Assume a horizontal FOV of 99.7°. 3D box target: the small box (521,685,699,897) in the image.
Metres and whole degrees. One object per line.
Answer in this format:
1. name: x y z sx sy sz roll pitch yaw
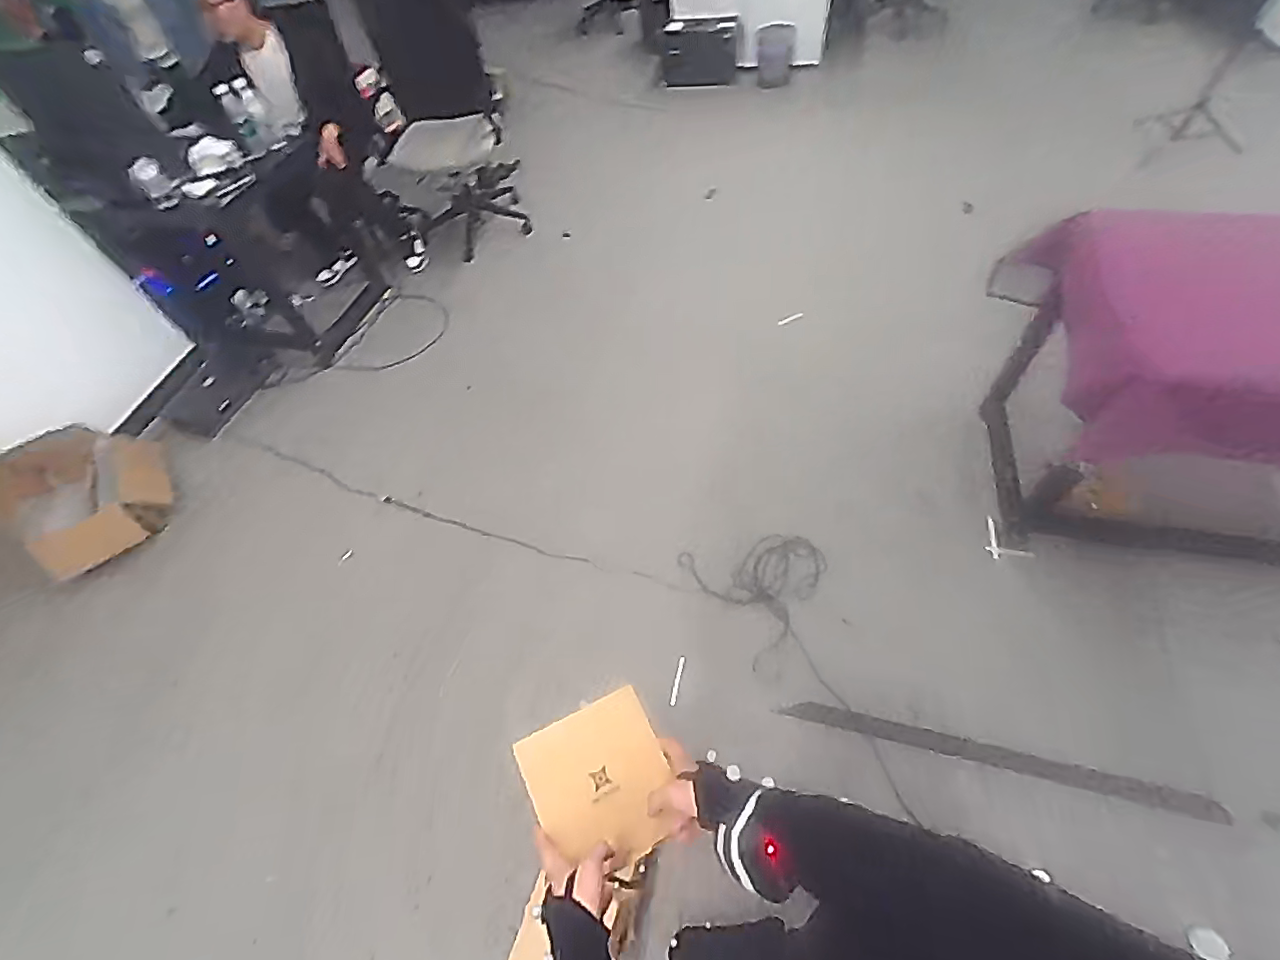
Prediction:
1. small box: -0.050 0.398 0.714 0.168 0.176 0.179 -20 68 -18

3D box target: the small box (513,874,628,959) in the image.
1. small box: -0.129 0.892 1.044 0.168 0.176 0.179 12 59 16
